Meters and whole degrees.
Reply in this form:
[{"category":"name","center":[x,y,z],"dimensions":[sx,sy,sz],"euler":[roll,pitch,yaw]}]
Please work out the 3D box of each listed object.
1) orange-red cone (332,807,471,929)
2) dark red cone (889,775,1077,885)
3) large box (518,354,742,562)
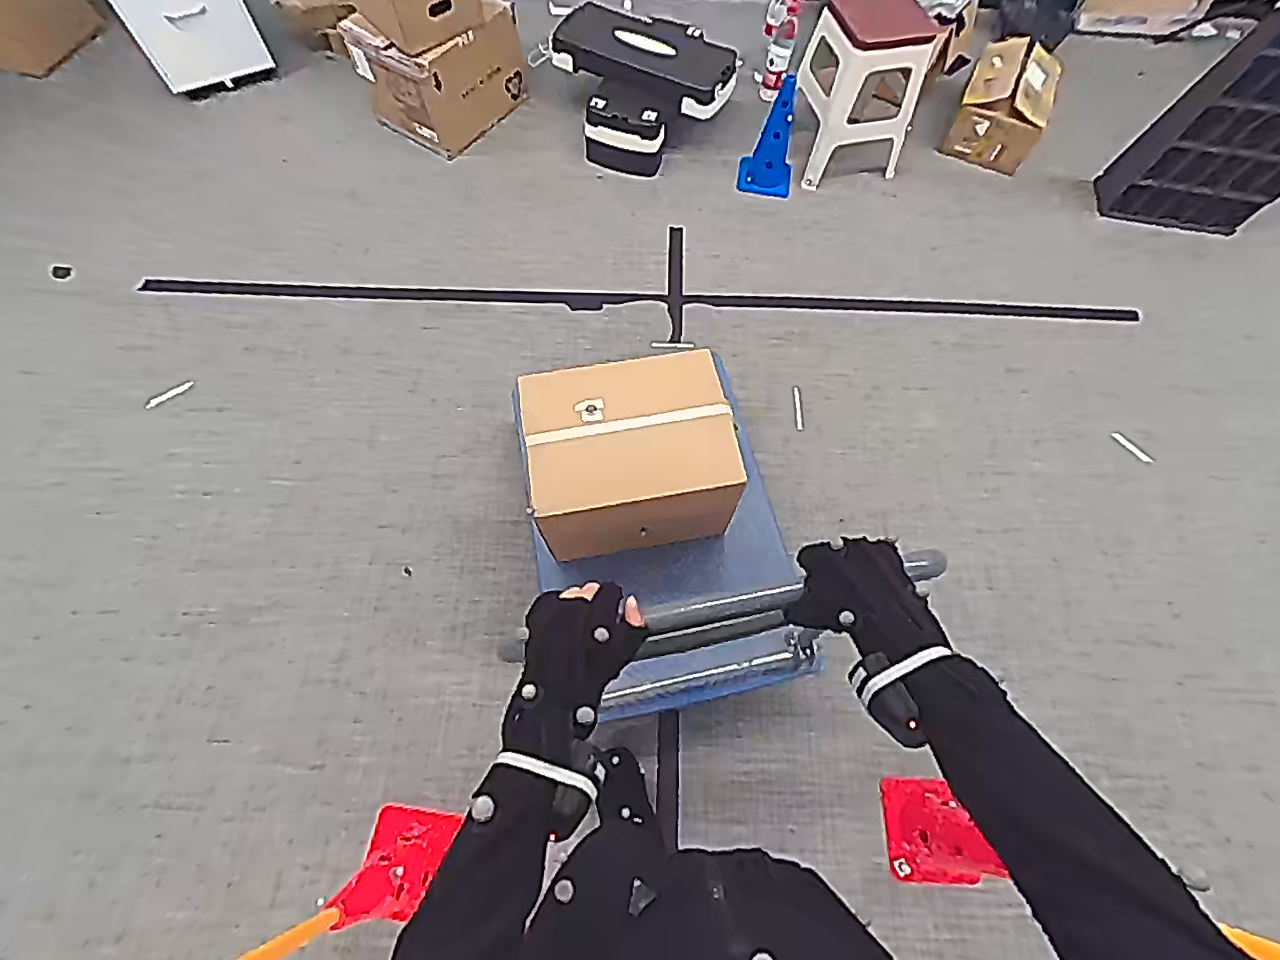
[{"category":"orange-red cone","center":[-0.470,0.750,0.999],"dimensions":[0.198,0.360,0.199],"euler":[9,64,2]},{"category":"dark red cone","center":[0.663,0.693,1.032],"dimensions":[0.201,0.394,0.202],"euler":[2,66,-2]},{"category":"large box","center":[-0.025,-0.034,1.202],"dimensions":[0.408,0.320,0.320],"euler":[-10,66,-3]}]
